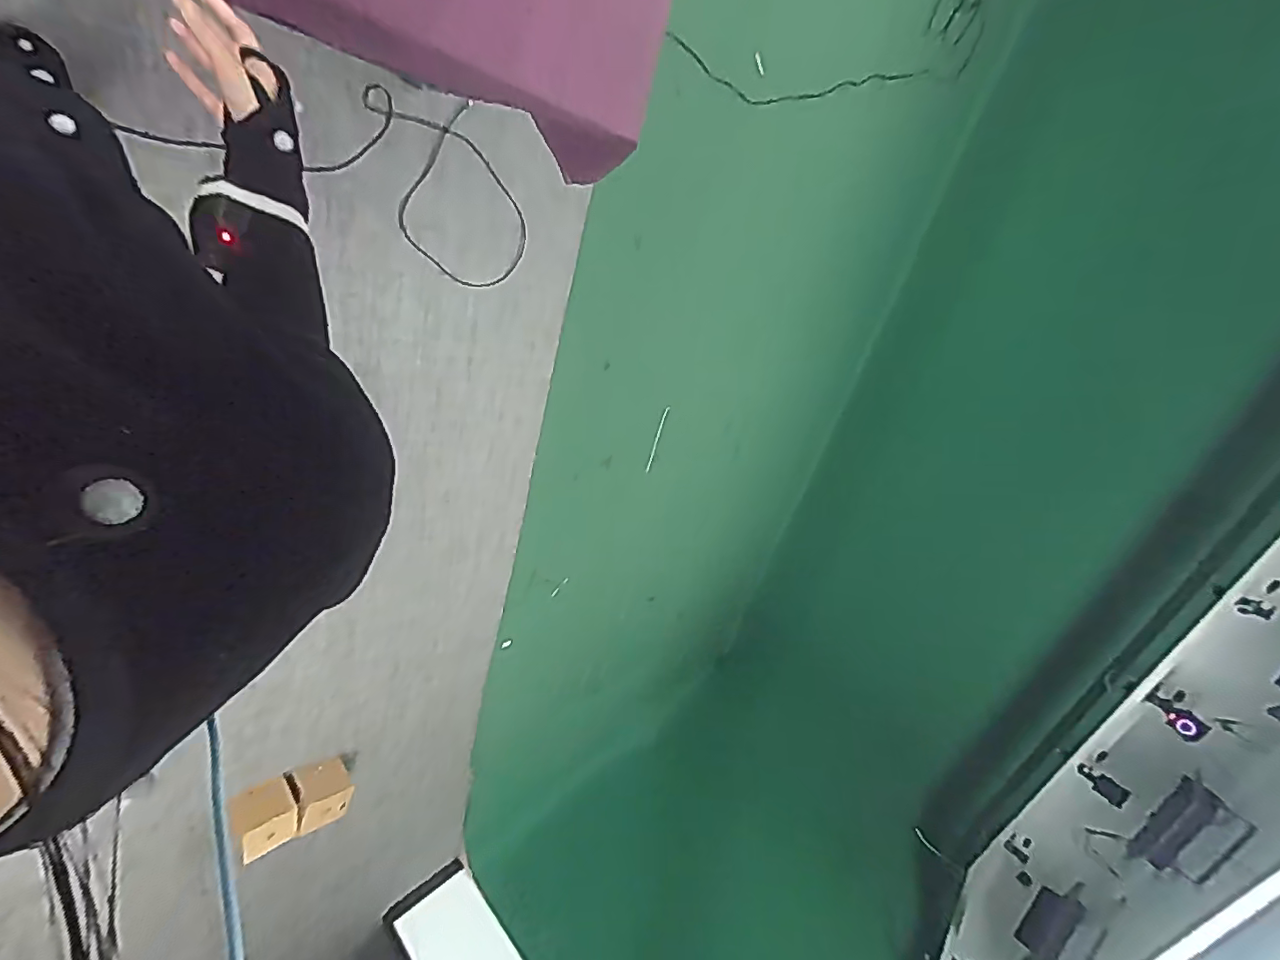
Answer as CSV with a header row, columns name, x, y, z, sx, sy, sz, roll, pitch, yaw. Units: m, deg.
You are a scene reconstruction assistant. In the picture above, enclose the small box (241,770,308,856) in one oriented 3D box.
name,x,y,z,sx,sy,sz,roll,pitch,yaw
small box,-1.343,1.216,1.986,0.168,0.176,0.179,-13,127,-47
